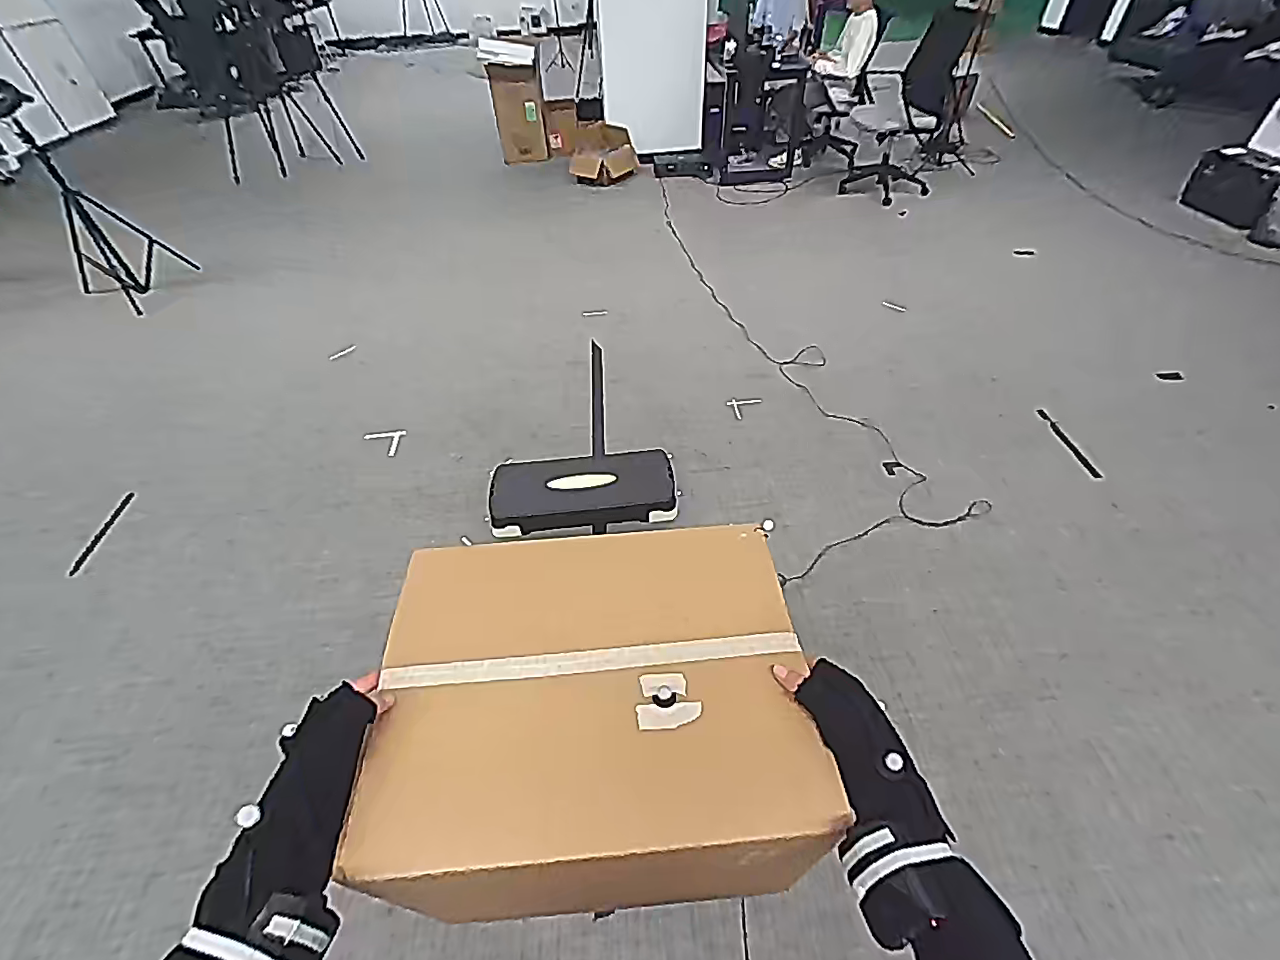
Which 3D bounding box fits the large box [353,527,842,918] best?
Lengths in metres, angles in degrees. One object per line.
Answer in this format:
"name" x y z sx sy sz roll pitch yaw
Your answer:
"large box" -0.040 0.284 0.640 0.408 0.320 0.320 -4 46 -2
